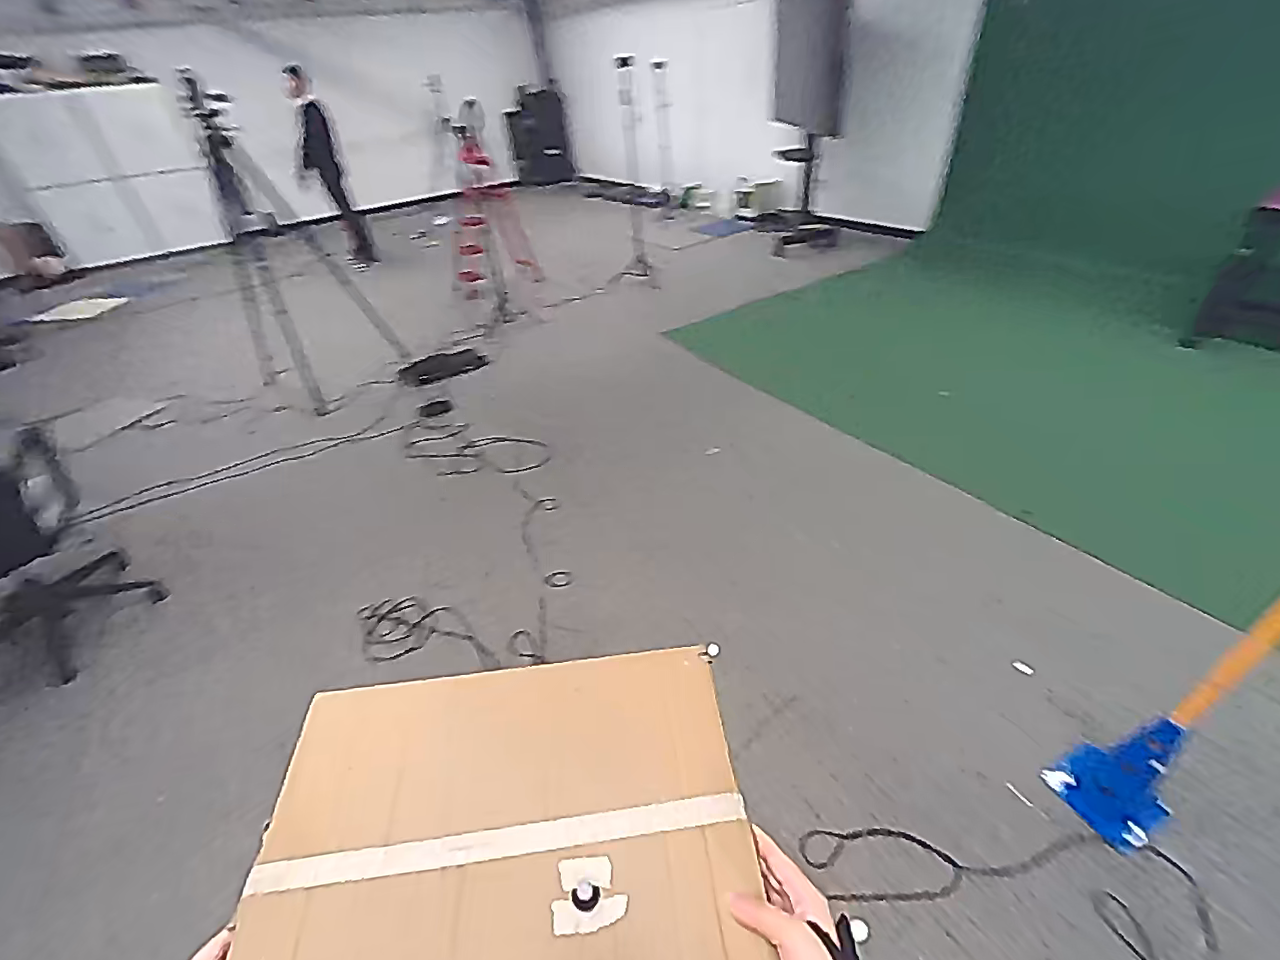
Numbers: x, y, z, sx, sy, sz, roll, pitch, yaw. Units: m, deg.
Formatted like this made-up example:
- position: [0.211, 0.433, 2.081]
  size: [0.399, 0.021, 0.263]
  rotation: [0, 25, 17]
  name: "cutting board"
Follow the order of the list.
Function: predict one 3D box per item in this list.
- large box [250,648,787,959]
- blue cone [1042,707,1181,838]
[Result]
- position: [-0.099, 0.411, 0.561]
  size: [0.408, 0.320, 0.320]
  rotation: [-5, 43, -4]
  name: "large box"
- position: [1.142, 0.652, 1.268]
  size: [0.192, 0.380, 0.193]
  rotation: [-19, 39, -18]
  name: "blue cone"
